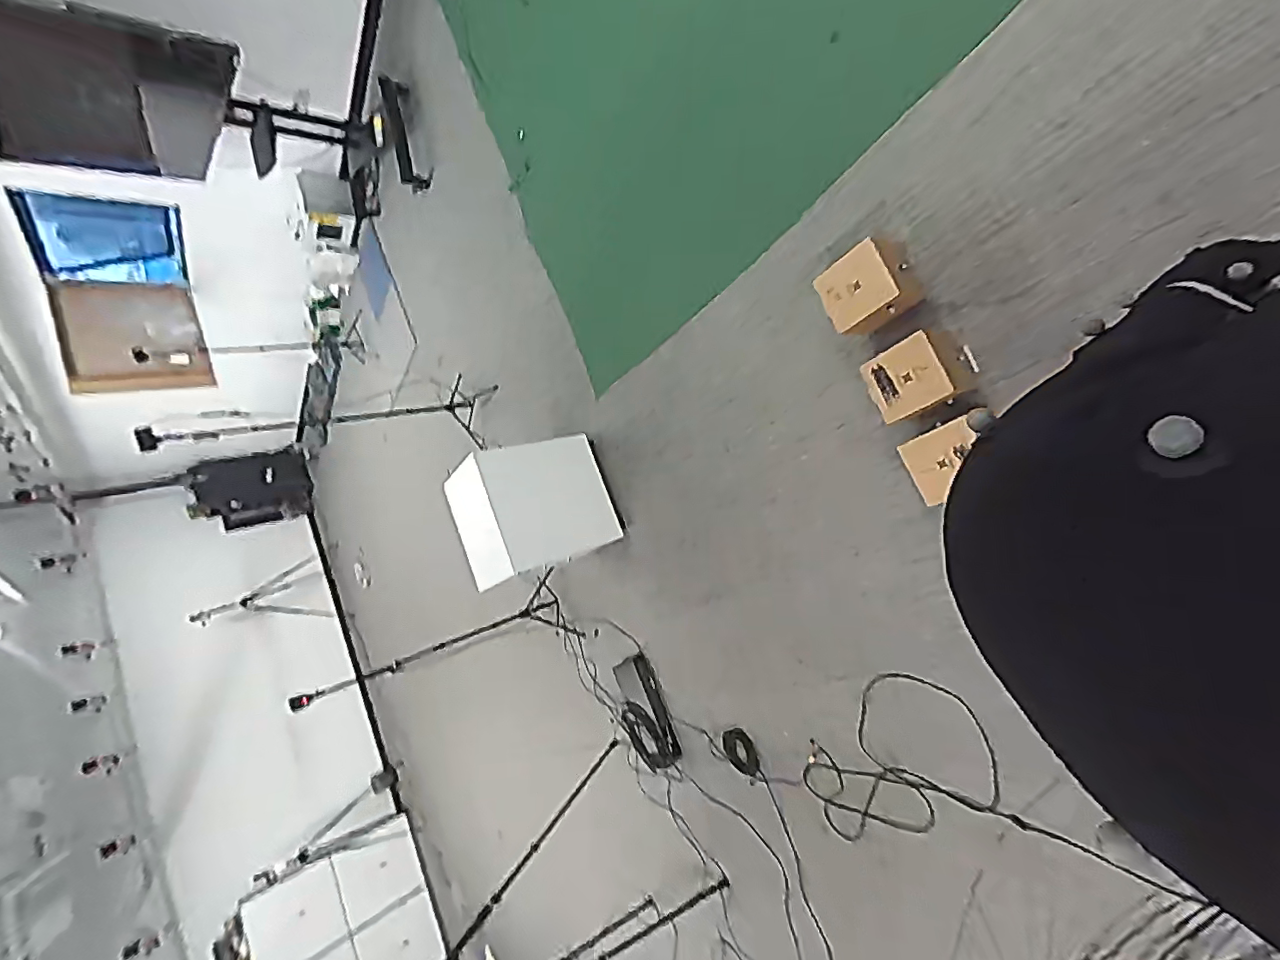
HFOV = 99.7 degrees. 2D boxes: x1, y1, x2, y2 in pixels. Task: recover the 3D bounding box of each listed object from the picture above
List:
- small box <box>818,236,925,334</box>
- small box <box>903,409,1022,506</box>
[{"bbox_3d":[0.602,-0.495,1.389,0.179,0.176,0.168,-34,74,48],"label":"small box"},{"bbox_3d":[0.781,-0.058,1.300,0.179,0.176,0.168,-36,73,49],"label":"small box"}]
